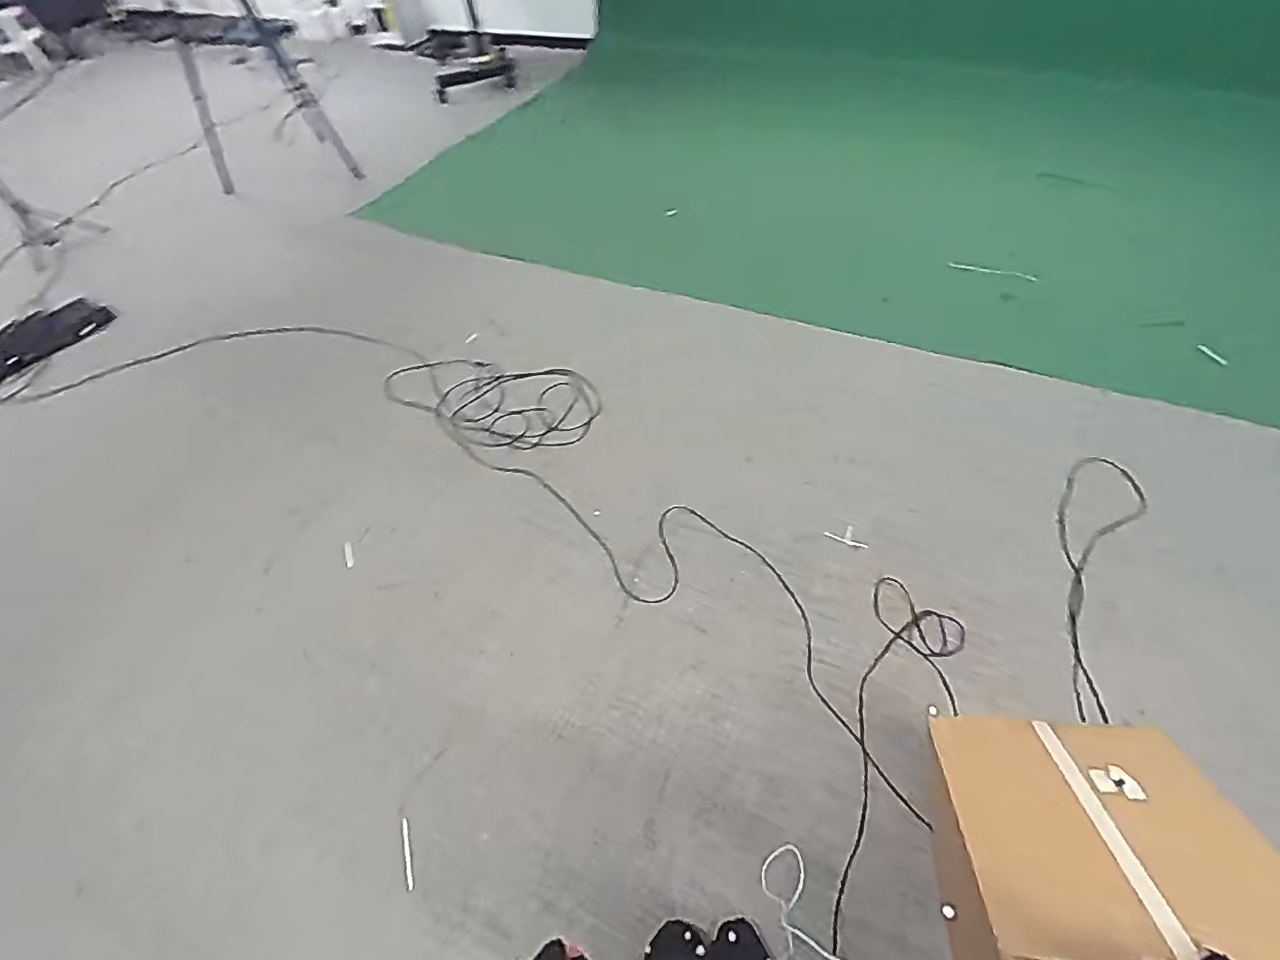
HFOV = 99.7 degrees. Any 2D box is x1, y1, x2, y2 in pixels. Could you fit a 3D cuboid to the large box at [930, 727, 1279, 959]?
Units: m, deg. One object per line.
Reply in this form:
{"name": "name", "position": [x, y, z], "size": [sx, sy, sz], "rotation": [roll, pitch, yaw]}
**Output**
{"name": "large box", "position": [0.584, 0.582, 0.687], "size": [0.320, 0.320, 0.408], "rotation": [-3, 9, 19]}
